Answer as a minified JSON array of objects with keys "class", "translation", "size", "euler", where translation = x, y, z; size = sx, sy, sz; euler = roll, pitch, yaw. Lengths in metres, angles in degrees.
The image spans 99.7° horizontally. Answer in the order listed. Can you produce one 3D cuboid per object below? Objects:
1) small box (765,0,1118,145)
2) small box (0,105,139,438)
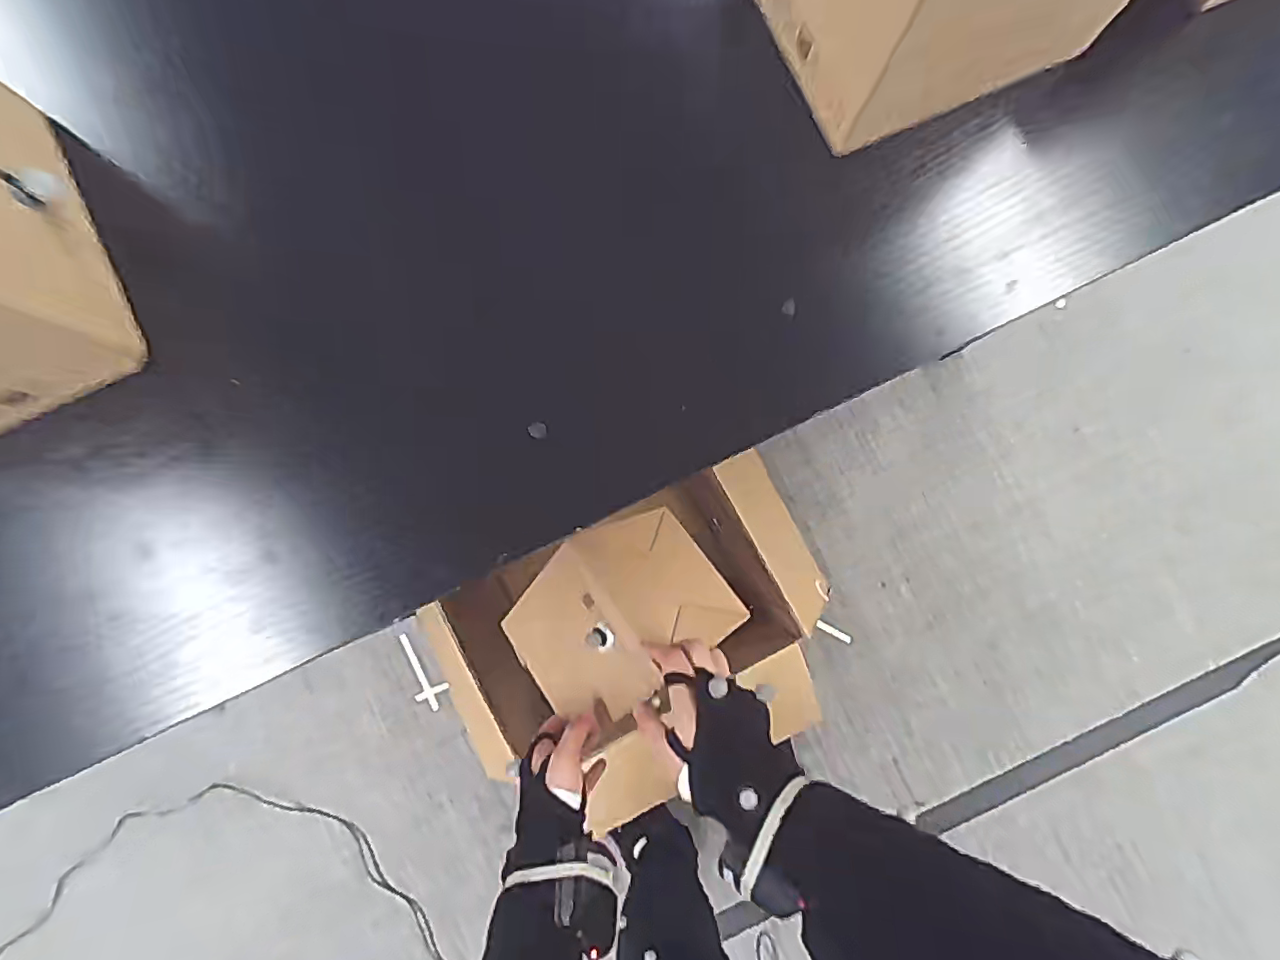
[{"class":"small box","translation":[0.164,-0.309,0.262],"size":[0.179,0.176,0.168],"euler":[-24,85,-3]},{"class":"small box","translation":[-0.392,-0.114,0.236],"size":[0.168,0.176,0.179],"euler":[-27,85,-4]}]
